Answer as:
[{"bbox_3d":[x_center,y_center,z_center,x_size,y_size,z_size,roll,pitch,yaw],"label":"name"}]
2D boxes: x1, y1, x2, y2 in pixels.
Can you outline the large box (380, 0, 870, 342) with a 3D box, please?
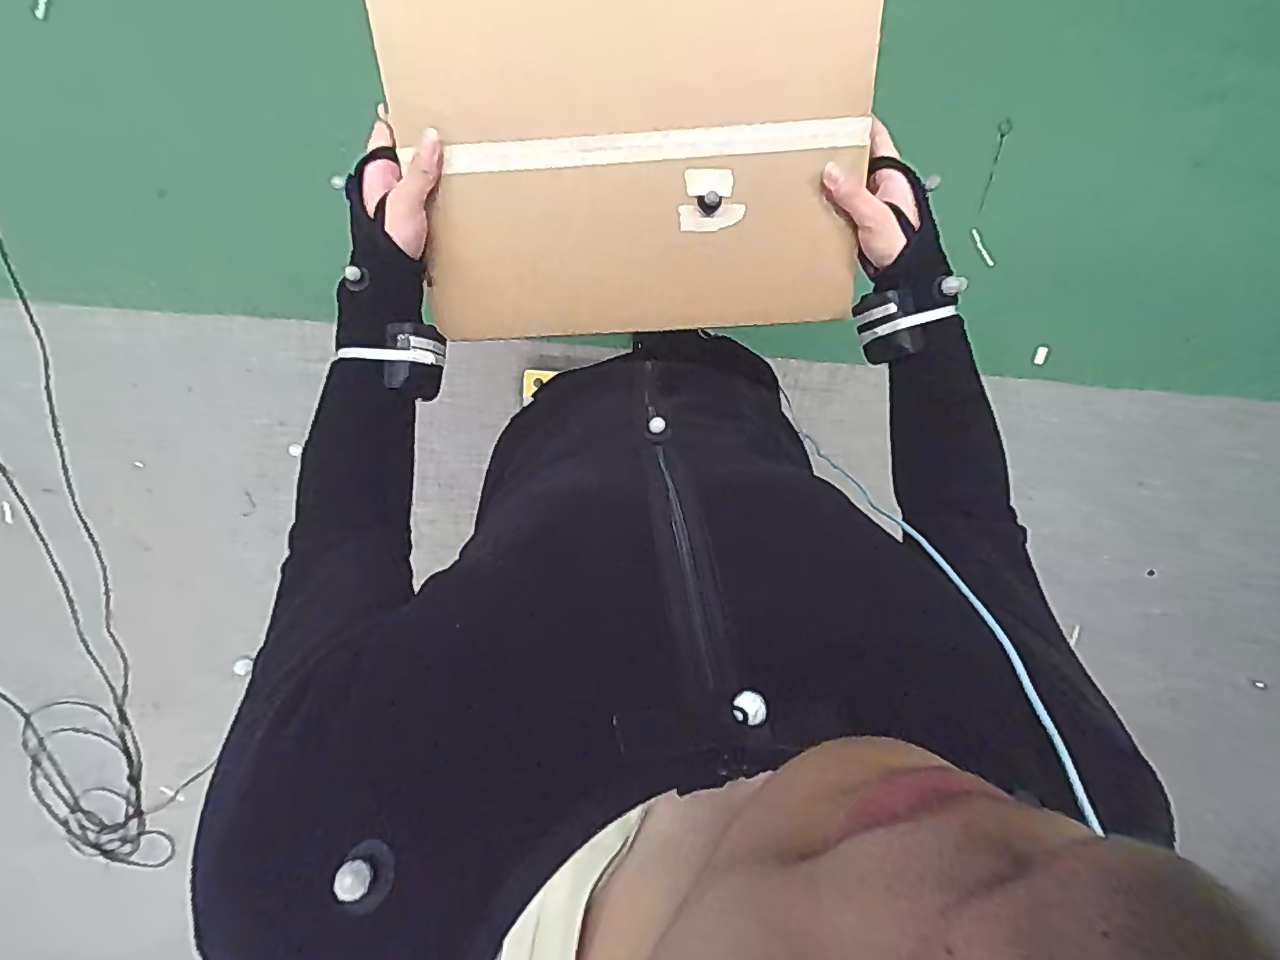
[{"bbox_3d":[-0.007,-0.354,0.616,0.408,0.320,0.320,-3,116,1],"label":"large box"}]
